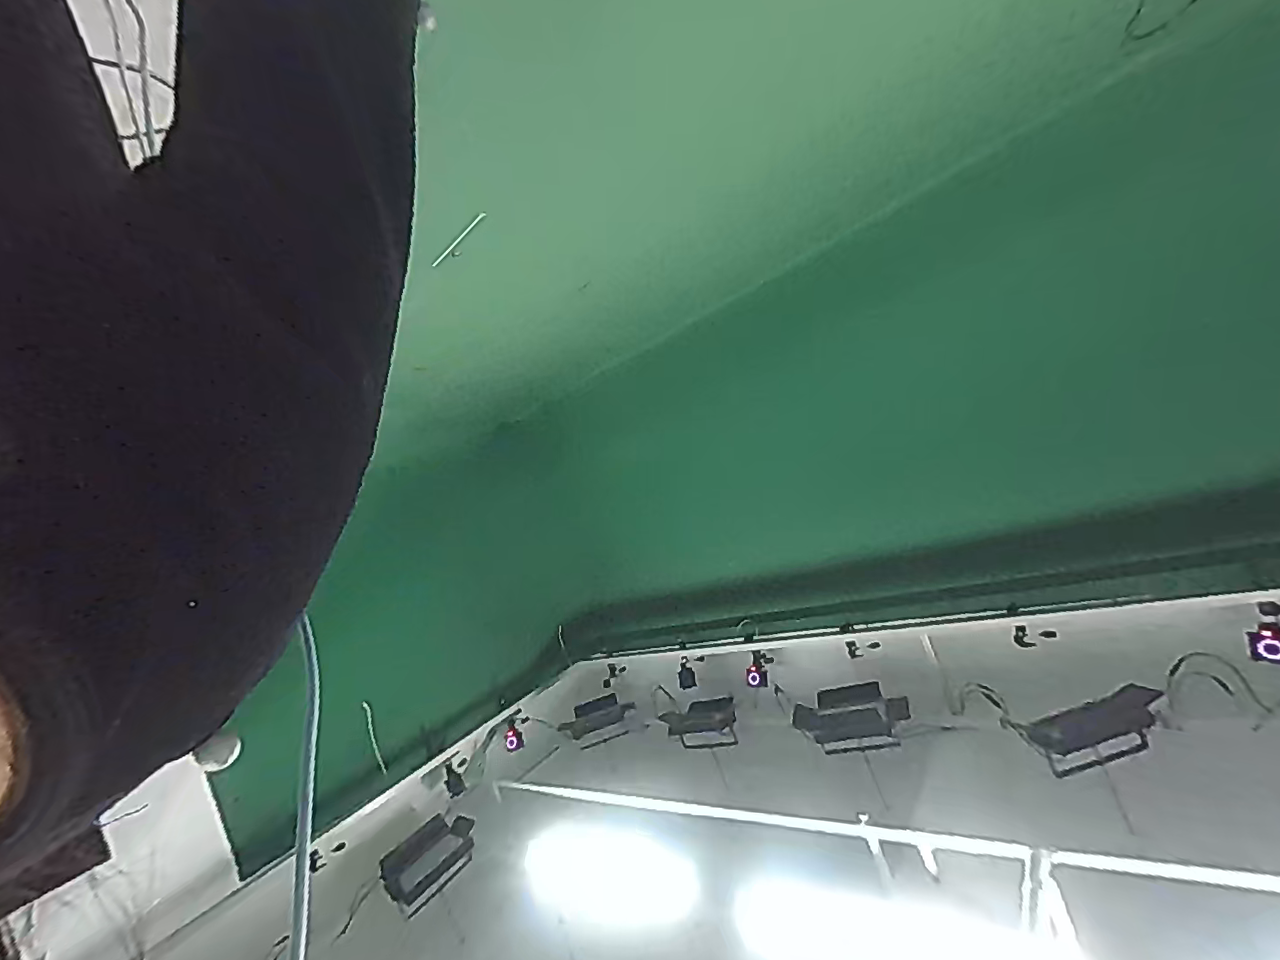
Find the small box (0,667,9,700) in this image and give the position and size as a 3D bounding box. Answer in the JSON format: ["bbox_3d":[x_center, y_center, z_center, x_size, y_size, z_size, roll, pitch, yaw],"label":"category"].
[{"bbox_3d":[-1.674,0.486,1.291,0.179,0.176,0.168,-22,178,29],"label":"small box"}]
